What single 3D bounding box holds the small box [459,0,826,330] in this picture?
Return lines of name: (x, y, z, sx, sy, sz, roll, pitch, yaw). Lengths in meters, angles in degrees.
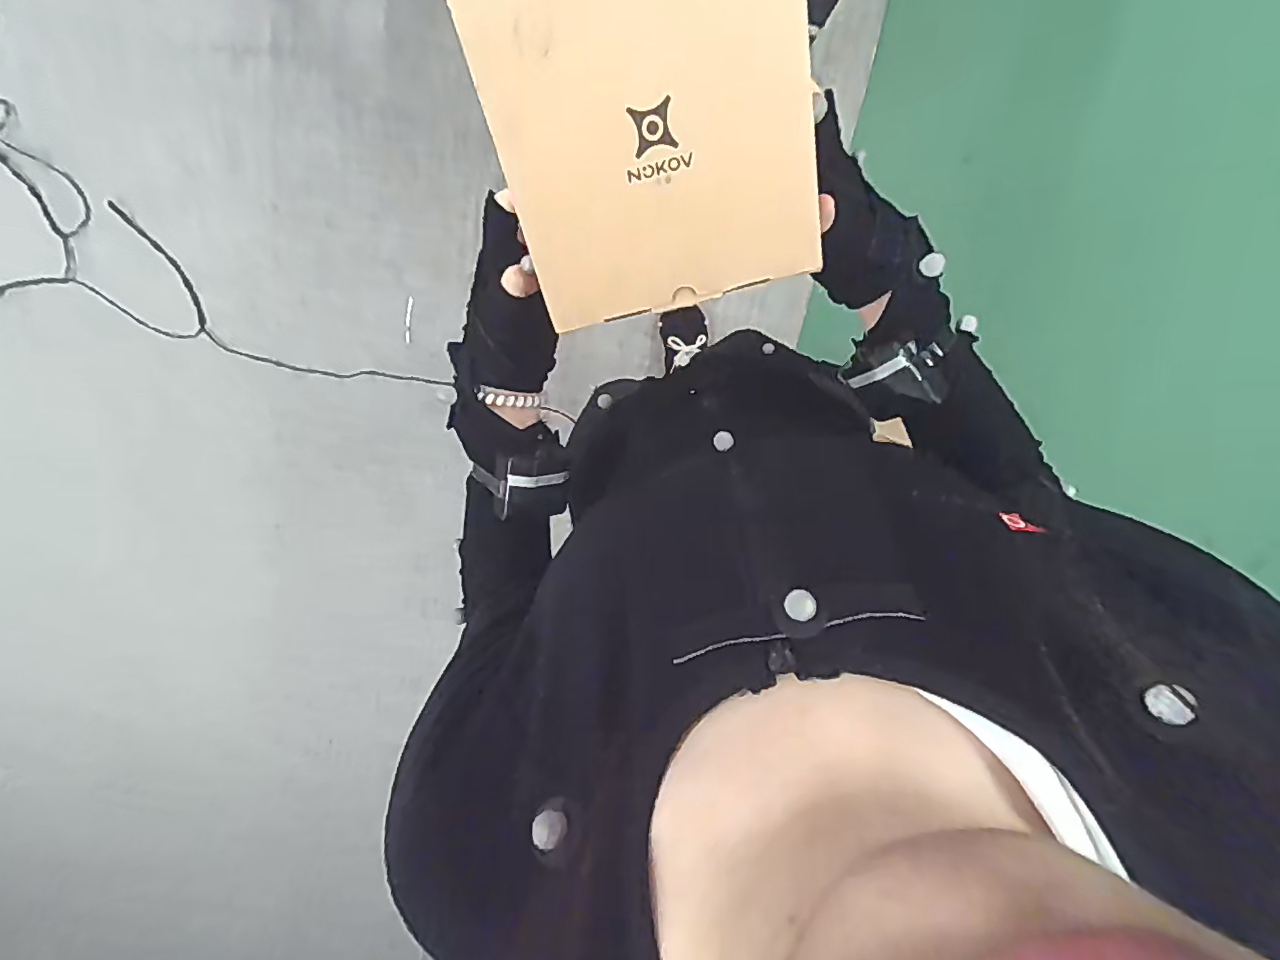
small box: (0.009, -0.222, 0.350, 0.168, 0.176, 0.179, -13, 122, 7)
